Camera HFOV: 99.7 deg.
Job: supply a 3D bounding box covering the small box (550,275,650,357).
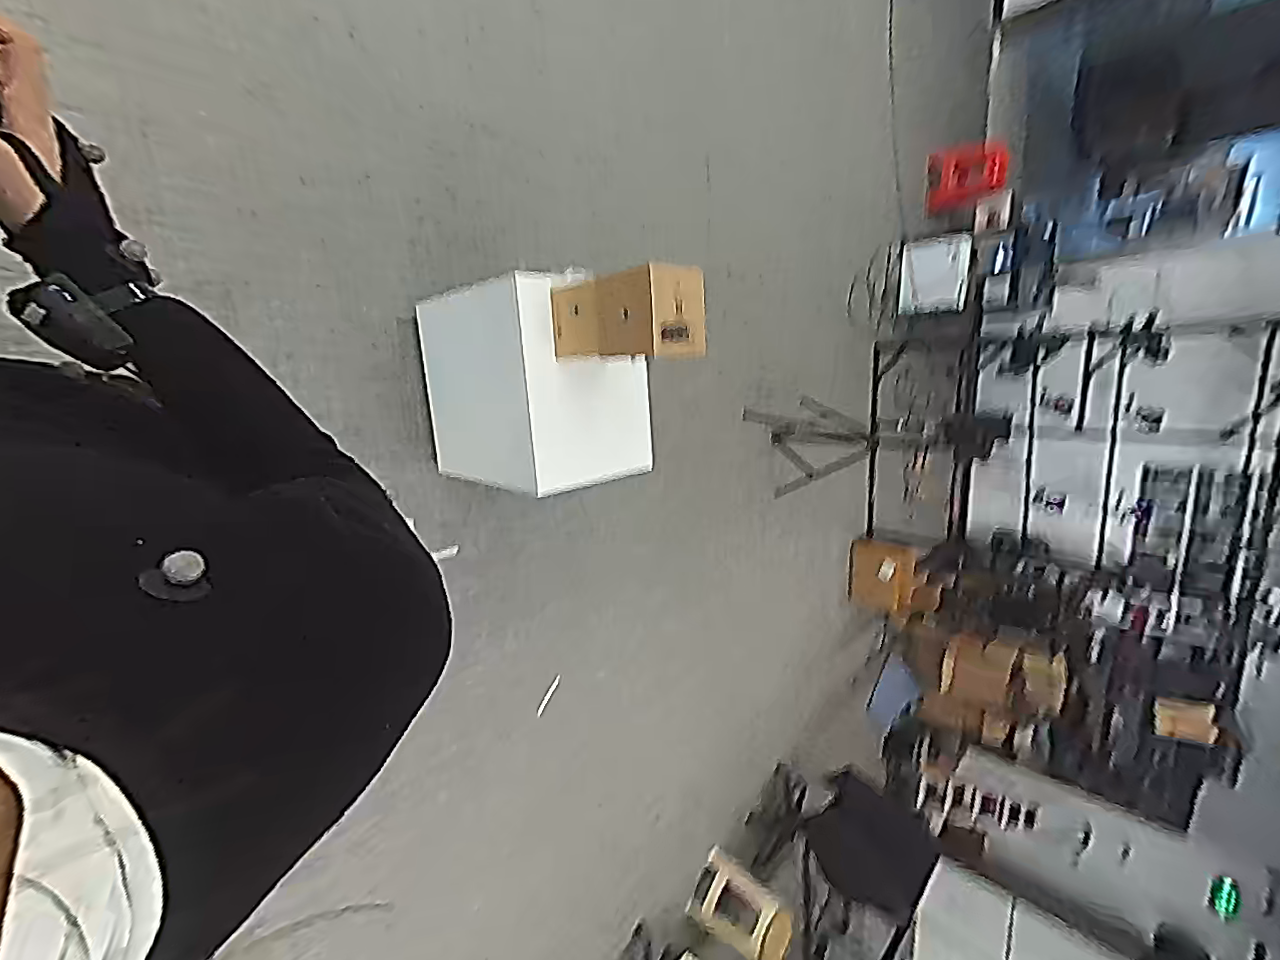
[{"bbox_3d":[-0.098,-0.379,1.273,0.179,0.176,0.168,-15,107,-43],"label":"small box"}]
